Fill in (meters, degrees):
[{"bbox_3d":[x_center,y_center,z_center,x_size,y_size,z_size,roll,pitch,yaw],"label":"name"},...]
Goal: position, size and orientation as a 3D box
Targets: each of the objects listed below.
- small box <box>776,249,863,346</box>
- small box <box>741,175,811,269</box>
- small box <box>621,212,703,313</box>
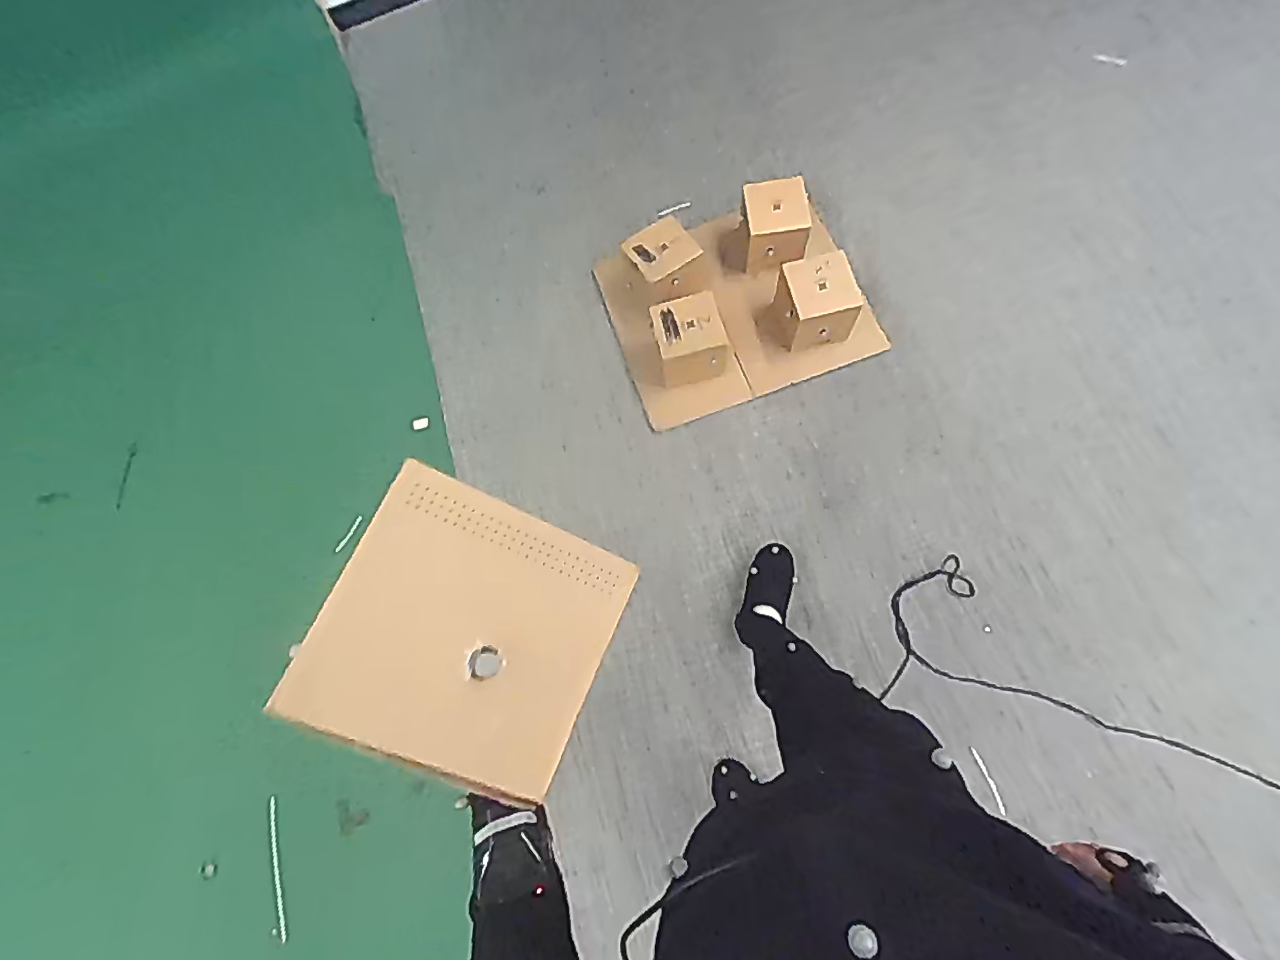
[{"bbox_3d":[0.474,-0.481,1.456,0.168,0.176,0.179,-12,72,3],"label":"small box"},{"bbox_3d":[0.383,-0.727,1.546,0.168,0.176,0.179,-6,72,5],"label":"small box"},{"bbox_3d":[0.069,-0.615,1.553,0.179,0.176,0.168,-33,72,-4],"label":"small box"}]
